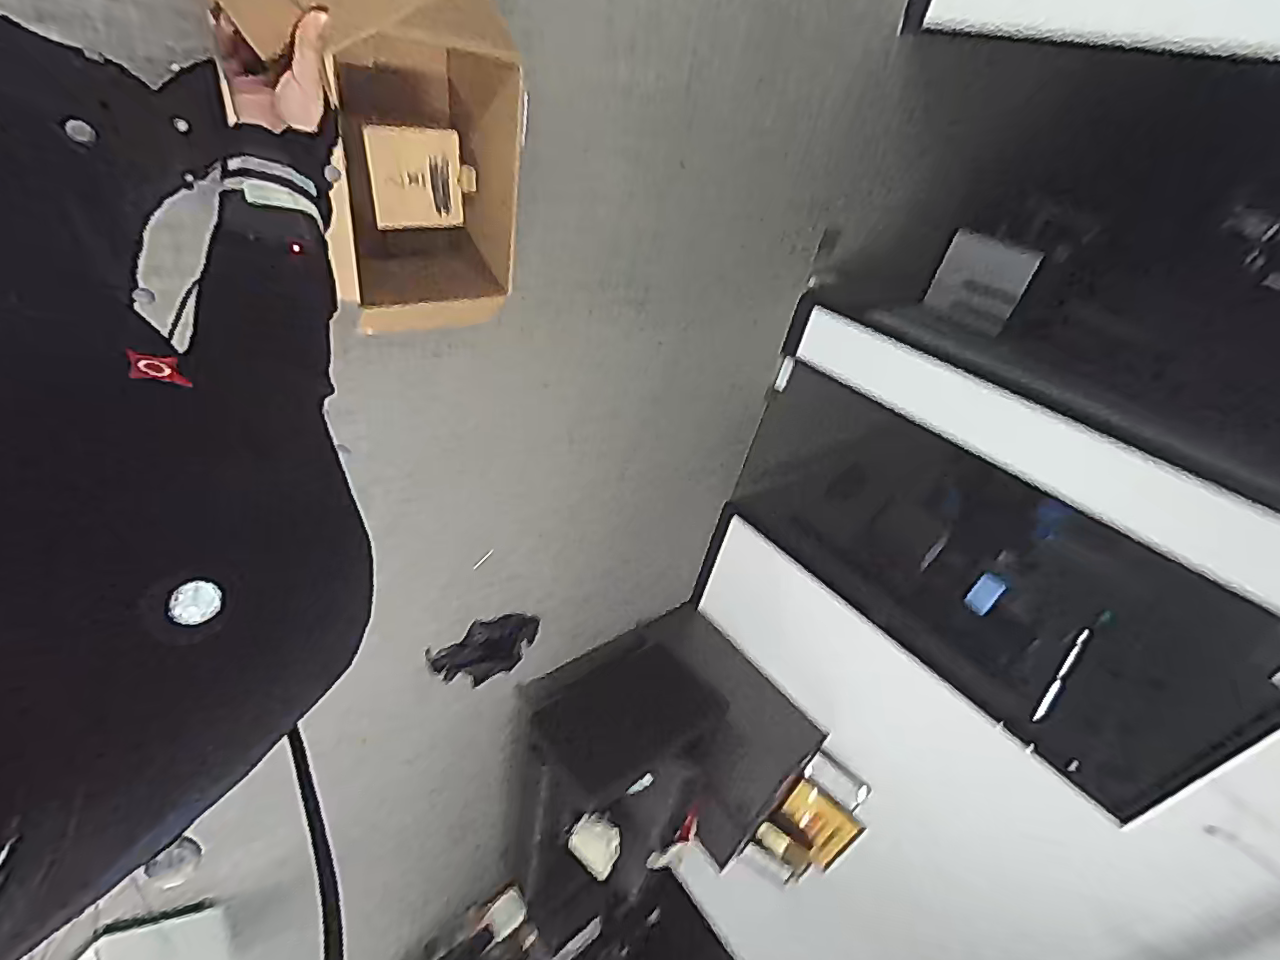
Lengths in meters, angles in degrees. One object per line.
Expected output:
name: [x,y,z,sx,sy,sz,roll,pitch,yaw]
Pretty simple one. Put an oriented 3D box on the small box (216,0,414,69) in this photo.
small box: [-0.248,-0.430,0.342,0.179,0.176,0.168,-32,-172,-5]
